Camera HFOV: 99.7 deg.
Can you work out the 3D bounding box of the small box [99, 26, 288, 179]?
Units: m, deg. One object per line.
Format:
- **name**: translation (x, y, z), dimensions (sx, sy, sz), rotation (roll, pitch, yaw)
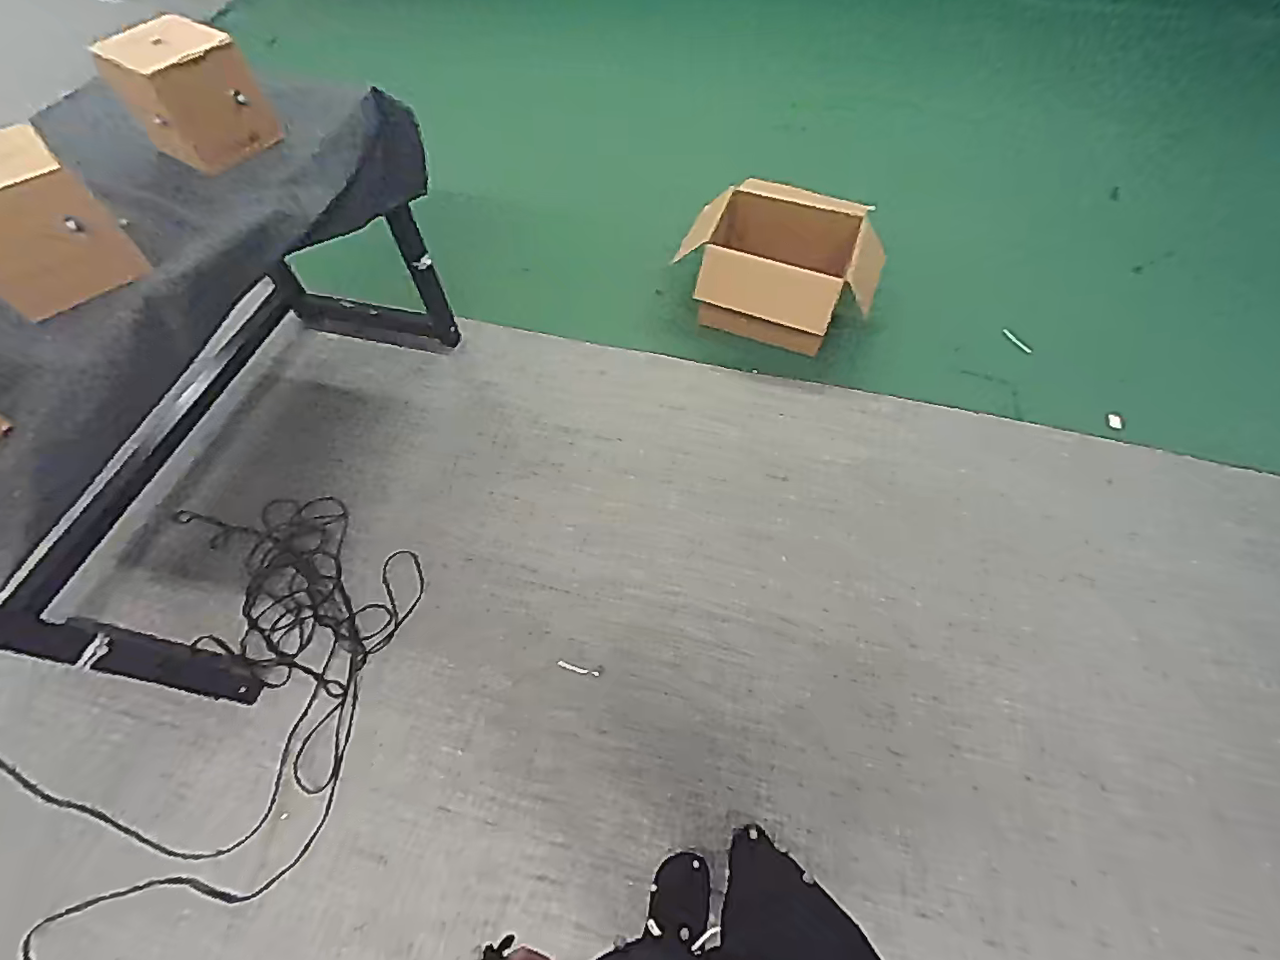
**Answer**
- **small box**: translation (-0.803, -0.688, 0.995), dimensions (0.179, 0.176, 0.168), rotation (28, 62, 17)
